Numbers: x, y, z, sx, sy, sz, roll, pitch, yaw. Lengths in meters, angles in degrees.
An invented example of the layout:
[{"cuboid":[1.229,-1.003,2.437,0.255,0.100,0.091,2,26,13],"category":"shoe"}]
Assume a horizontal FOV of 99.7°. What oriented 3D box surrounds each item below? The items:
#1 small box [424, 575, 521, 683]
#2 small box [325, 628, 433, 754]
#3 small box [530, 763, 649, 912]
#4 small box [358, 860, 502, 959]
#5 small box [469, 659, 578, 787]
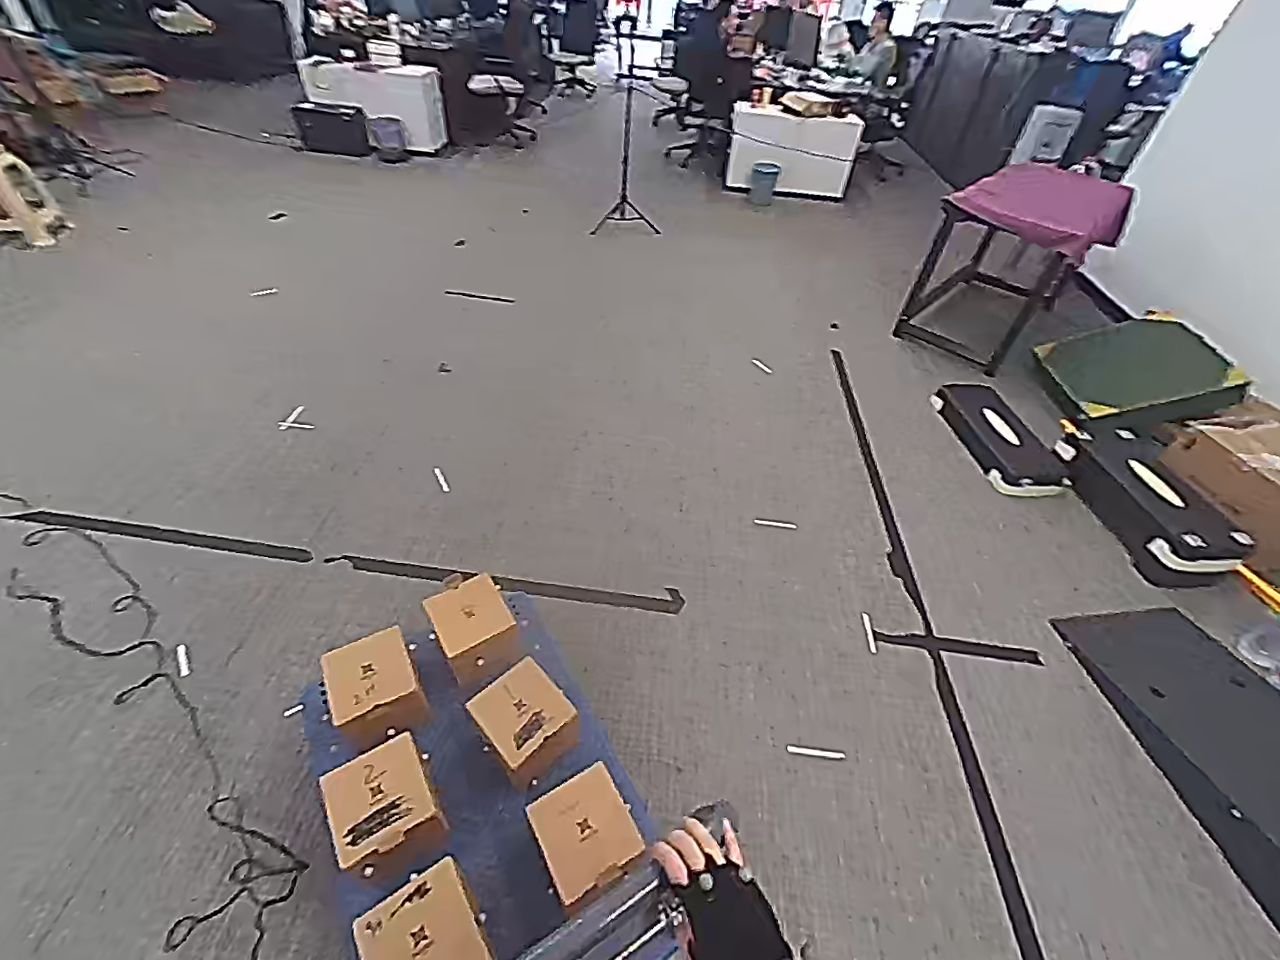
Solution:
[{"cuboid":[-0.408,0.376,1.337,0.168,0.176,0.179,-24,52,-27],"category":"small box"},{"cuboid":[-0.583,0.476,1.217,0.168,0.176,0.179,-20,51,-24],"category":"small box"},{"cuboid":[-0.099,0.697,1.049,0.168,0.176,0.179,-21,50,-25],"category":"small box"},{"cuboid":[-0.347,0.799,0.919,0.168,0.176,0.179,-24,53,-28],"category":"small box"},{"cuboid":[-0.248,0.539,1.189,0.168,0.176,0.179,-33,55,-32],"category":"small box"}]
